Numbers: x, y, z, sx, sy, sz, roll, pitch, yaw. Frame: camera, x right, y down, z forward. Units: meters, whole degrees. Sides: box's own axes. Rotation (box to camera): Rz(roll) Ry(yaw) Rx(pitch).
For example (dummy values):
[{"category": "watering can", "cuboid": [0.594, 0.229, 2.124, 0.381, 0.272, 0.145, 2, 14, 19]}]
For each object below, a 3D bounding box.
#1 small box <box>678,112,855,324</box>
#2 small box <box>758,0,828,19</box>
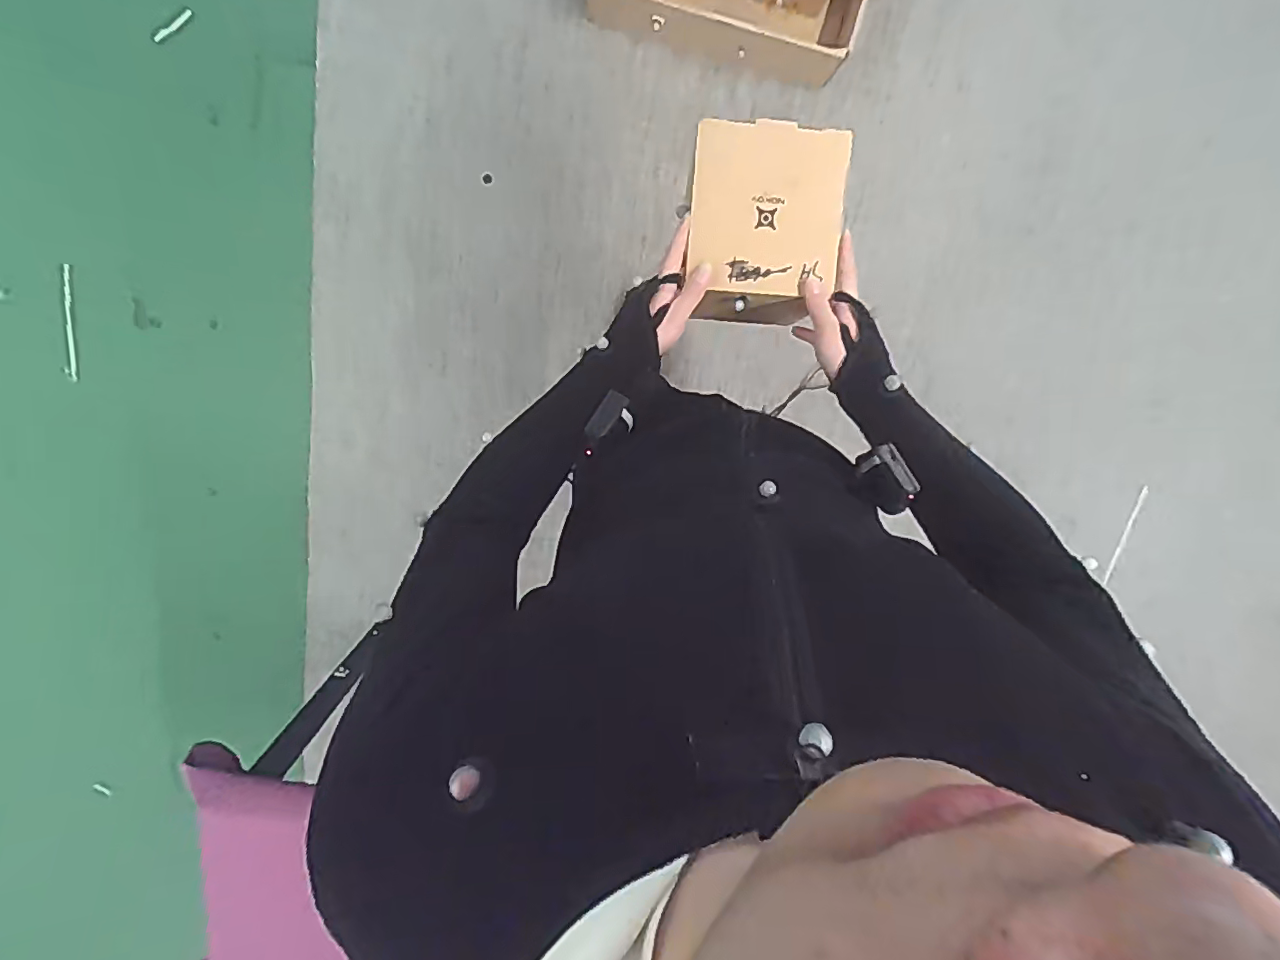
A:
[{"category": "small box", "cuboid": [0.137, -0.298, 0.649, 0.168, 0.176, 0.179, 5, 96, 0]}, {"category": "small box", "cuboid": [0.362, -1.168, 1.175, 0.168, 0.176, 0.179, 14, 105, -3]}]
